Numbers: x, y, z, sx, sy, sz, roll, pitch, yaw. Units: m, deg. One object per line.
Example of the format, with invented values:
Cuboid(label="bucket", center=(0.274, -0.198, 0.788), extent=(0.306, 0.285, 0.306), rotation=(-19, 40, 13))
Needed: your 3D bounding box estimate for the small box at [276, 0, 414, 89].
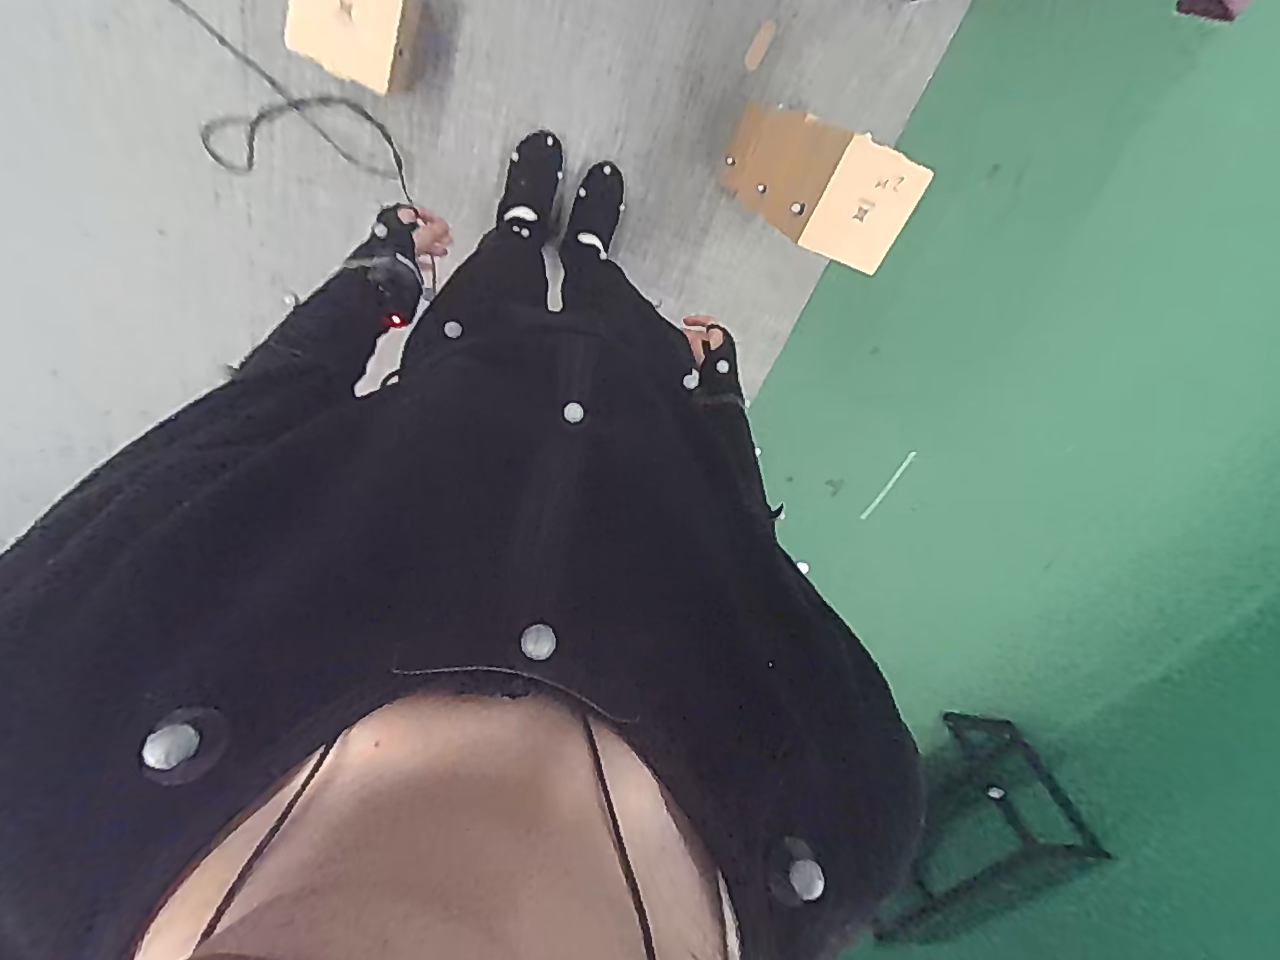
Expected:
Cuboid(label="small box", center=(-0.507, -0.825, 0.947), extent=(0.168, 0.176, 0.179), rotation=(17, 123, -22))

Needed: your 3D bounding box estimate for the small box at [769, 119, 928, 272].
Cuboid(label="small box", center=(0.348, -0.500, 0.949), extent=(0.168, 0.176, 0.179), rotation=(12, 125, -20))

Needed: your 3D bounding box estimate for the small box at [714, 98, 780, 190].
Cuboid(label="small box", center=(0.285, -0.710, 1.190), extent=(0.179, 0.176, 0.168), rotation=(14, 123, -21))

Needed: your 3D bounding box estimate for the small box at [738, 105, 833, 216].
Cuboid(label="small box", center=(0.314, -0.610, 1.067), extent=(0.168, 0.176, 0.179), rotation=(12, 125, -20))
